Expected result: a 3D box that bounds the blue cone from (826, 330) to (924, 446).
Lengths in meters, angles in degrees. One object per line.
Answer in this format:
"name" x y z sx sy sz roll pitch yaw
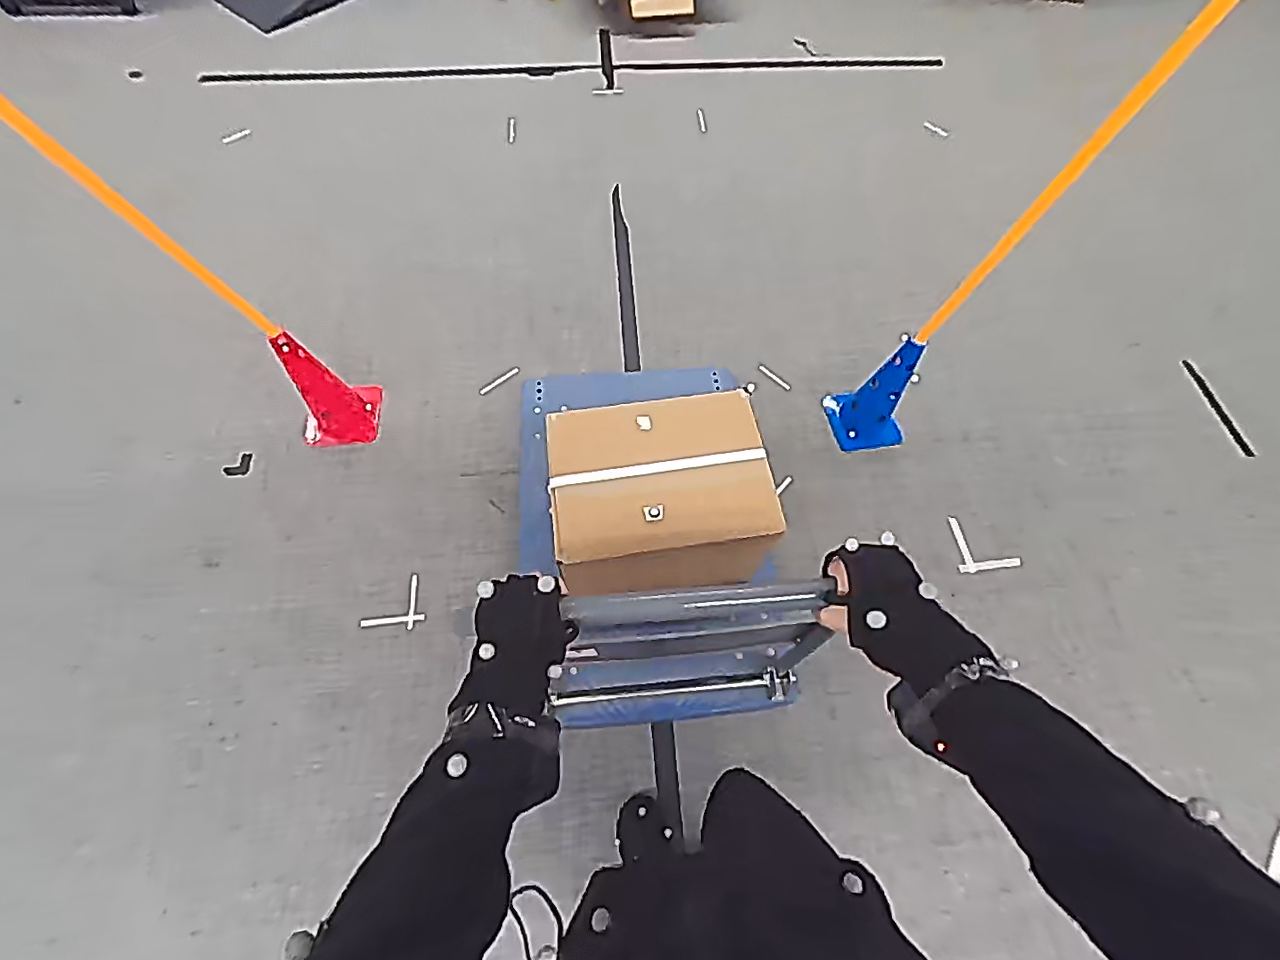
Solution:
"blue cone" 0.682 -0.263 1.493 0.193 0.380 0.192 -7 63 -6
